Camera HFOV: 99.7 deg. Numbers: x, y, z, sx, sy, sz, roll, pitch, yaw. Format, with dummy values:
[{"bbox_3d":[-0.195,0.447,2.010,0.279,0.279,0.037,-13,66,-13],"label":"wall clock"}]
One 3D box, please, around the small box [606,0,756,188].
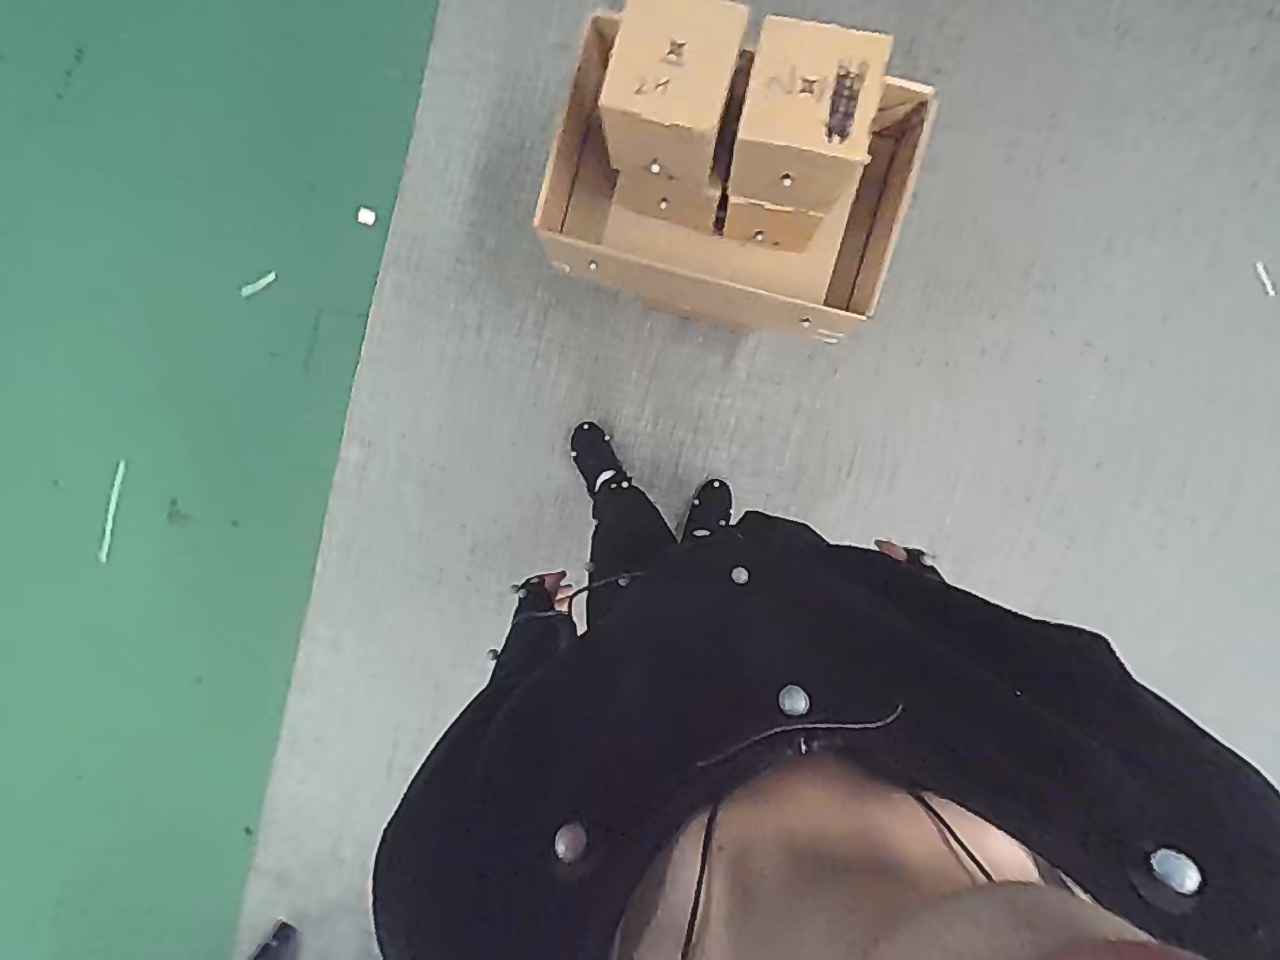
[{"bbox_3d":[0.058,-0.582,0.813,0.168,0.176,0.179,17,94,3],"label":"small box"}]
